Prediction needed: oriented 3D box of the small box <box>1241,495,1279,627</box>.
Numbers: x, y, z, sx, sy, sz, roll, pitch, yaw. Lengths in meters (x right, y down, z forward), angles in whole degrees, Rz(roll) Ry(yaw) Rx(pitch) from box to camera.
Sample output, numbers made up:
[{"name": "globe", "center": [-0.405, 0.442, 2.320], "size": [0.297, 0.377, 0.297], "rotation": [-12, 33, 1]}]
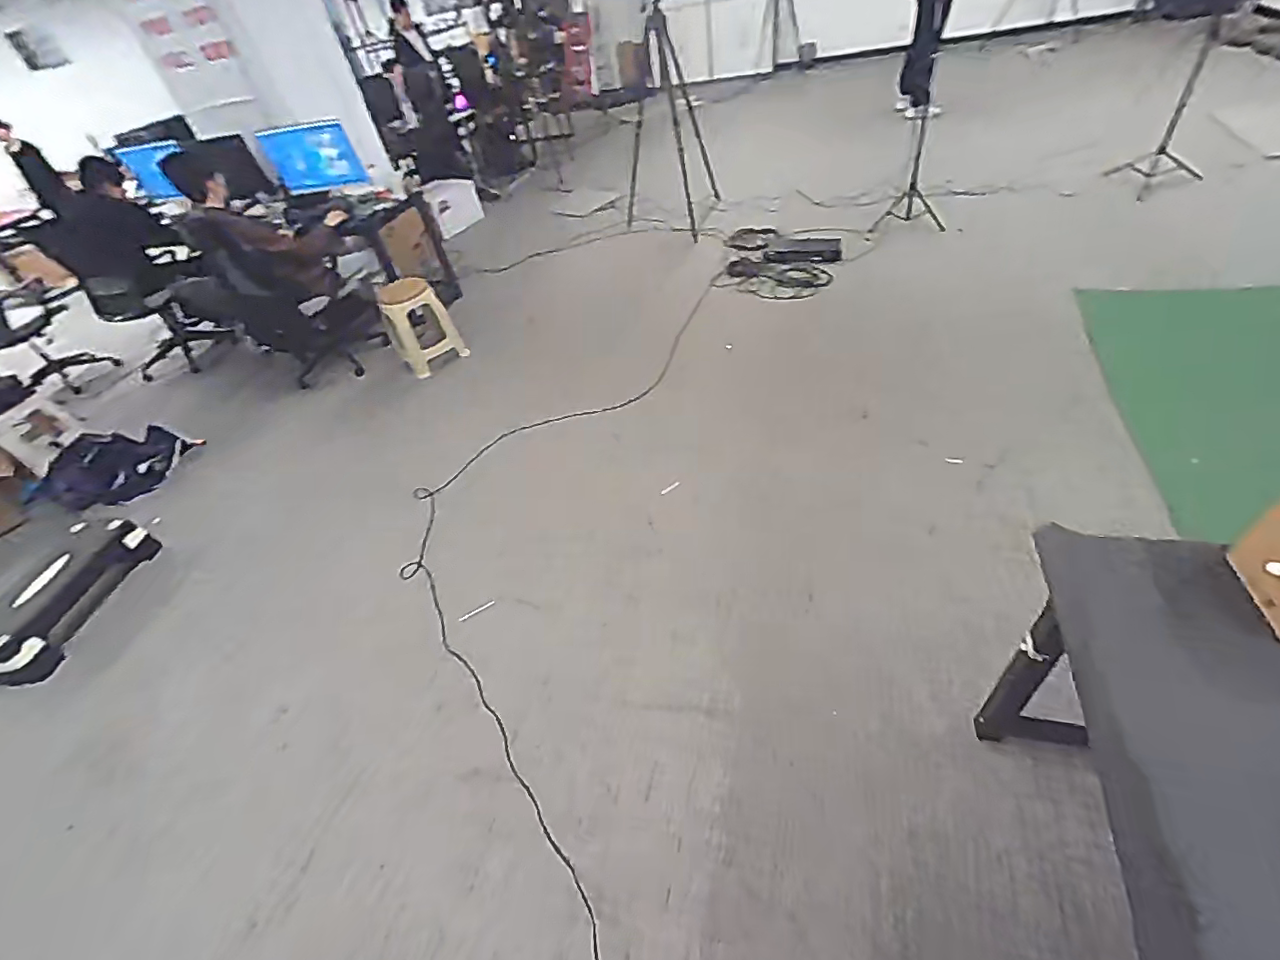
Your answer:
[{"name": "small box", "center": [1.001, 0.120, 0.742], "size": [0.179, 0.176, 0.168], "rotation": [2, 46, 15]}]
